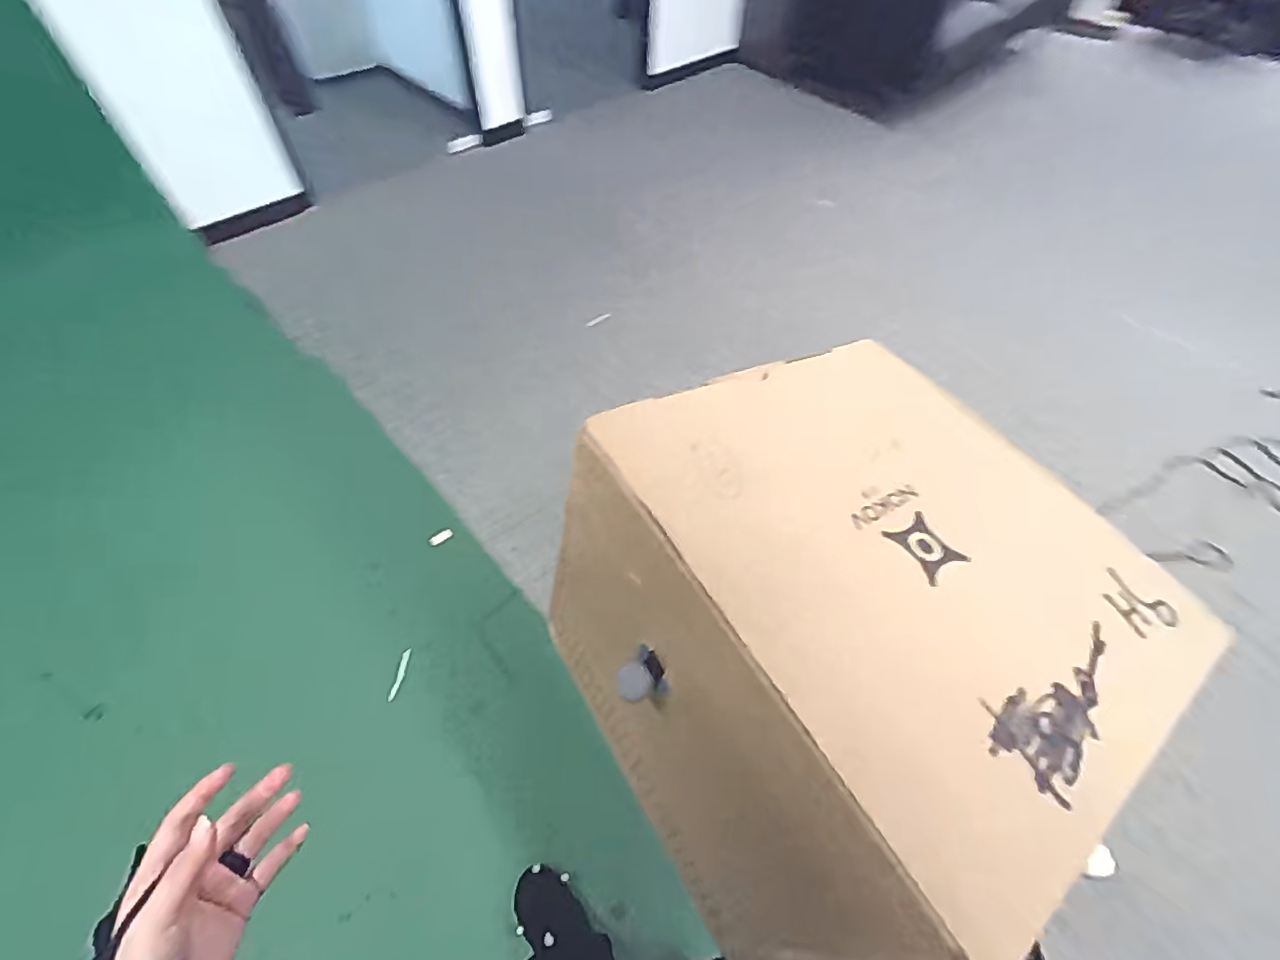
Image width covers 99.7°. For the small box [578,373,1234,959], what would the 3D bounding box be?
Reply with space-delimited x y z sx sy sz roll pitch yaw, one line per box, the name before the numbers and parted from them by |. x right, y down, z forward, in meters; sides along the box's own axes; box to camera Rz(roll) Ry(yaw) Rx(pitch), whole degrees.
small box | 0.085 0.081 0.253 0.168 0.176 0.179 -21 57 -29
